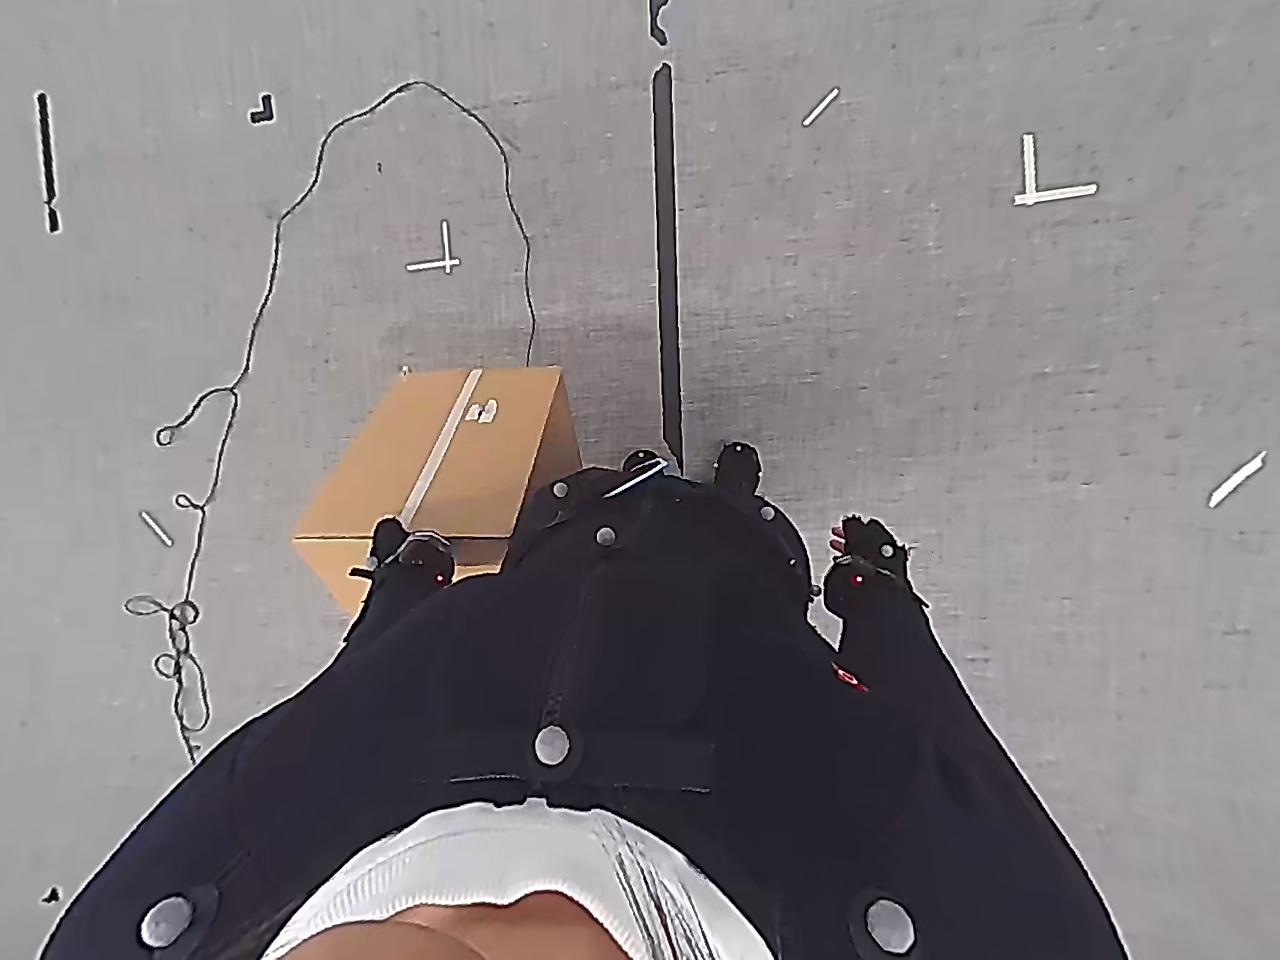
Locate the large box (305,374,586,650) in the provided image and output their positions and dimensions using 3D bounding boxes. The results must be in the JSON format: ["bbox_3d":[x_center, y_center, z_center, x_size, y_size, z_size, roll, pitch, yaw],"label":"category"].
[{"bbox_3d":[-0.295,0.053,0.979,0.320,0.408,0.320,0,134,6],"label":"large box"}]
